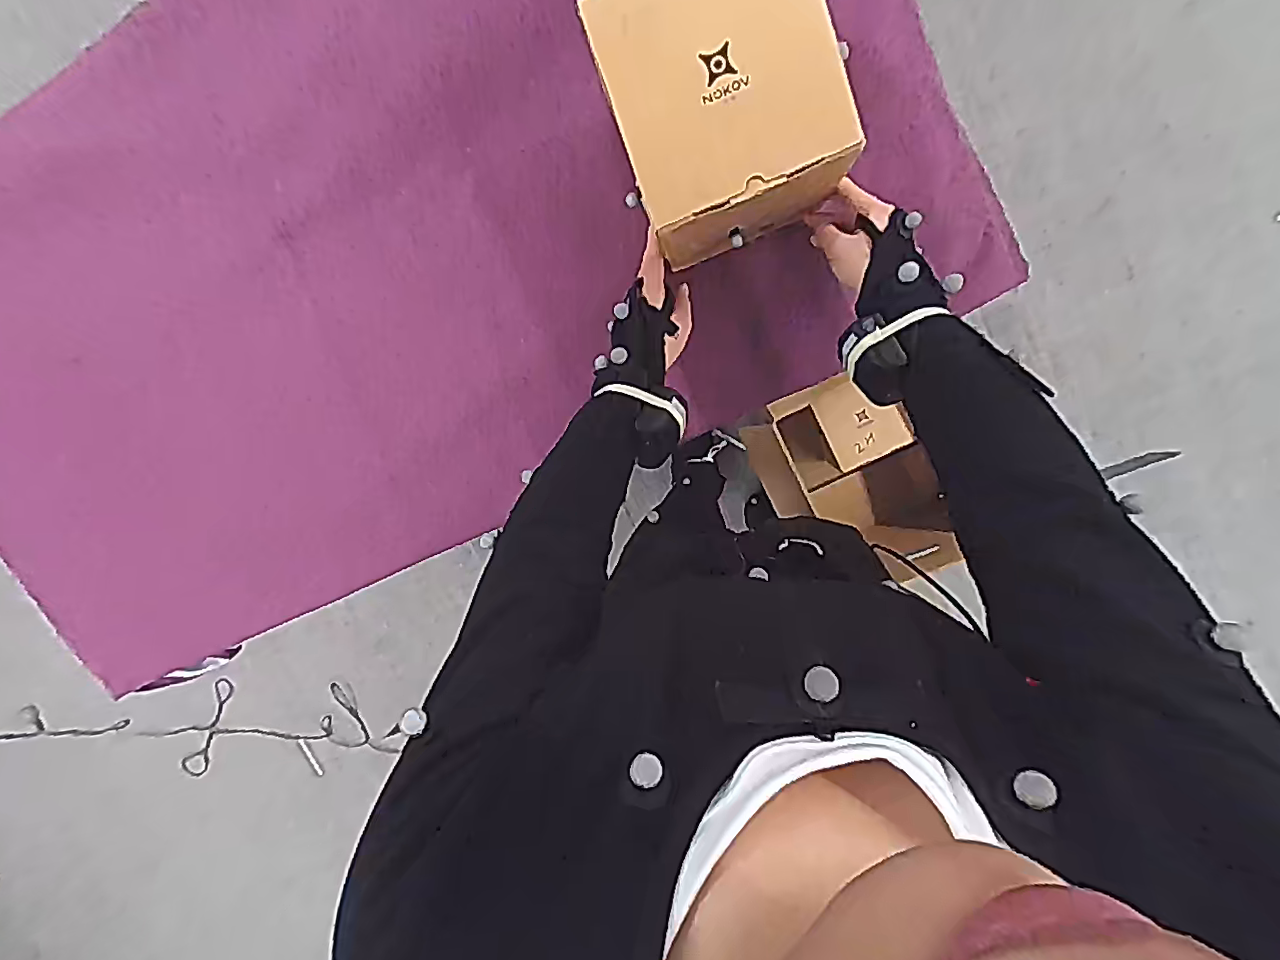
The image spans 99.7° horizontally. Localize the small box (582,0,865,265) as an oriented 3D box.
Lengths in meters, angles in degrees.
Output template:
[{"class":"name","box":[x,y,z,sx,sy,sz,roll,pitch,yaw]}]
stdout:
[{"class":"small box","box":[0.069,-0.315,0.472,0.168,0.176,0.179,-19,98,11]}]
